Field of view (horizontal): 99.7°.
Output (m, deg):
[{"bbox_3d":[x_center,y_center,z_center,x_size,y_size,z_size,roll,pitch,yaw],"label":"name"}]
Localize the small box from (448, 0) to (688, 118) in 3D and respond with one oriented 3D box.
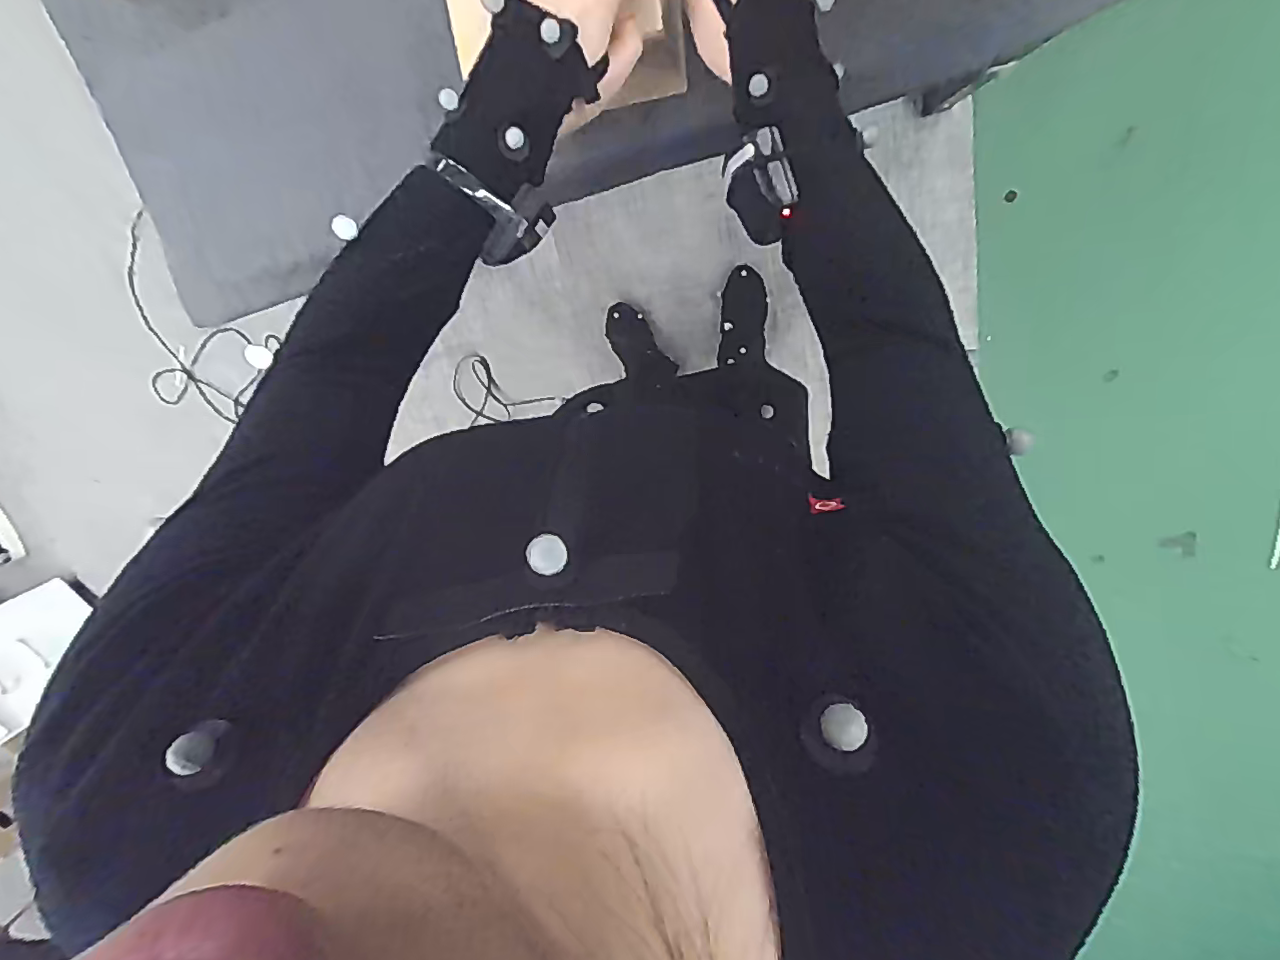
[{"bbox_3d":[-0.059,-0.447,0.483,0.179,0.176,0.168,-3,113,13],"label":"small box"}]
